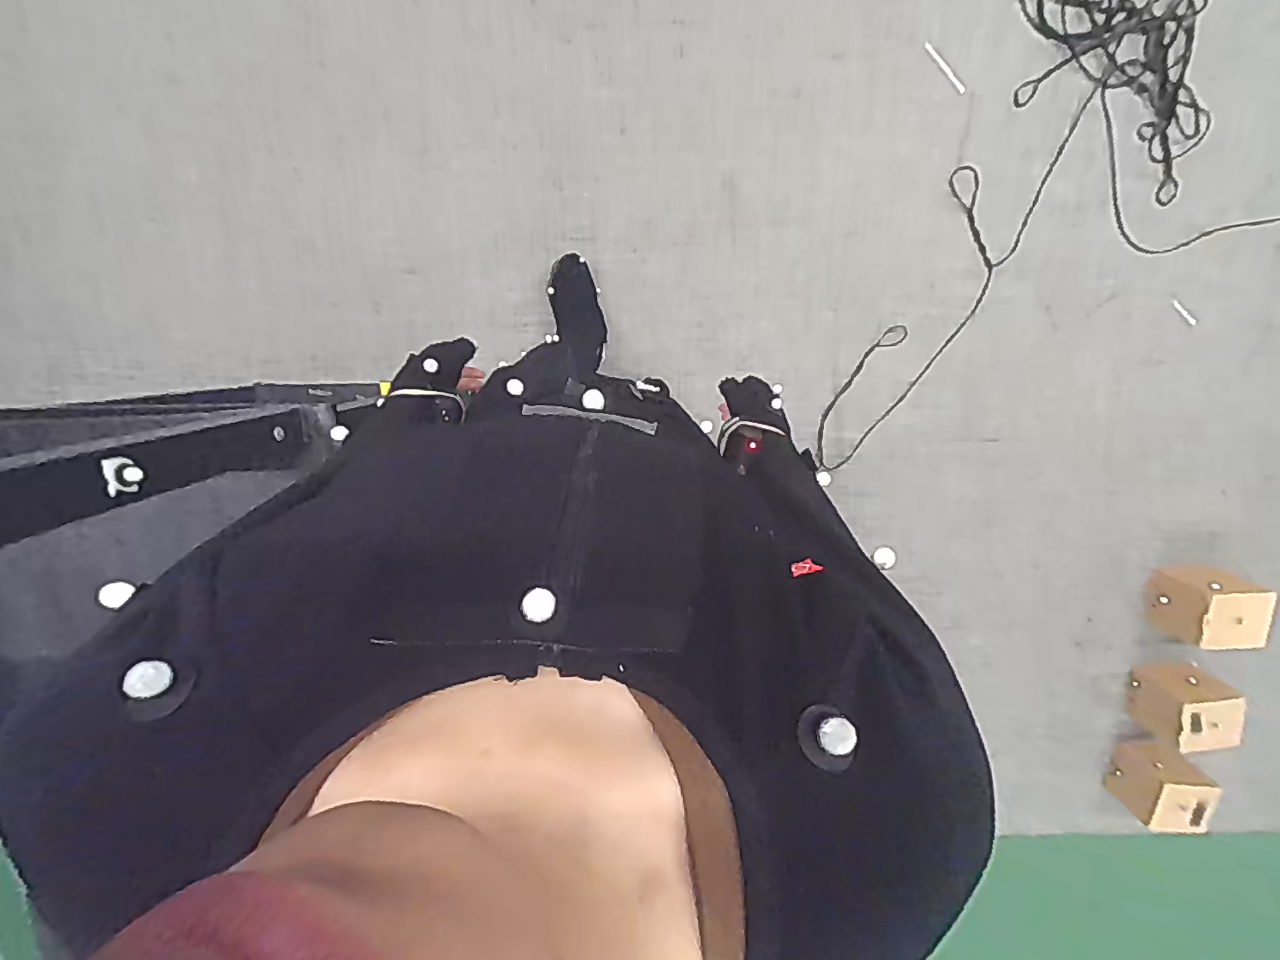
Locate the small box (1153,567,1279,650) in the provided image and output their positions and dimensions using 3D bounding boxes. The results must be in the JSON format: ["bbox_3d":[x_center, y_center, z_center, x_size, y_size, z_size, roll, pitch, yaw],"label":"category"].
[{"bbox_3d":[1.588,0.348,1.489,0.179,0.176,0.168,-4,103,2],"label":"small box"}]

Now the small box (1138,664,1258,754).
[{"bbox_3d":[1.602,0.656,1.565,0.179,0.176,0.168,-8,104,1],"label":"small box"}]
